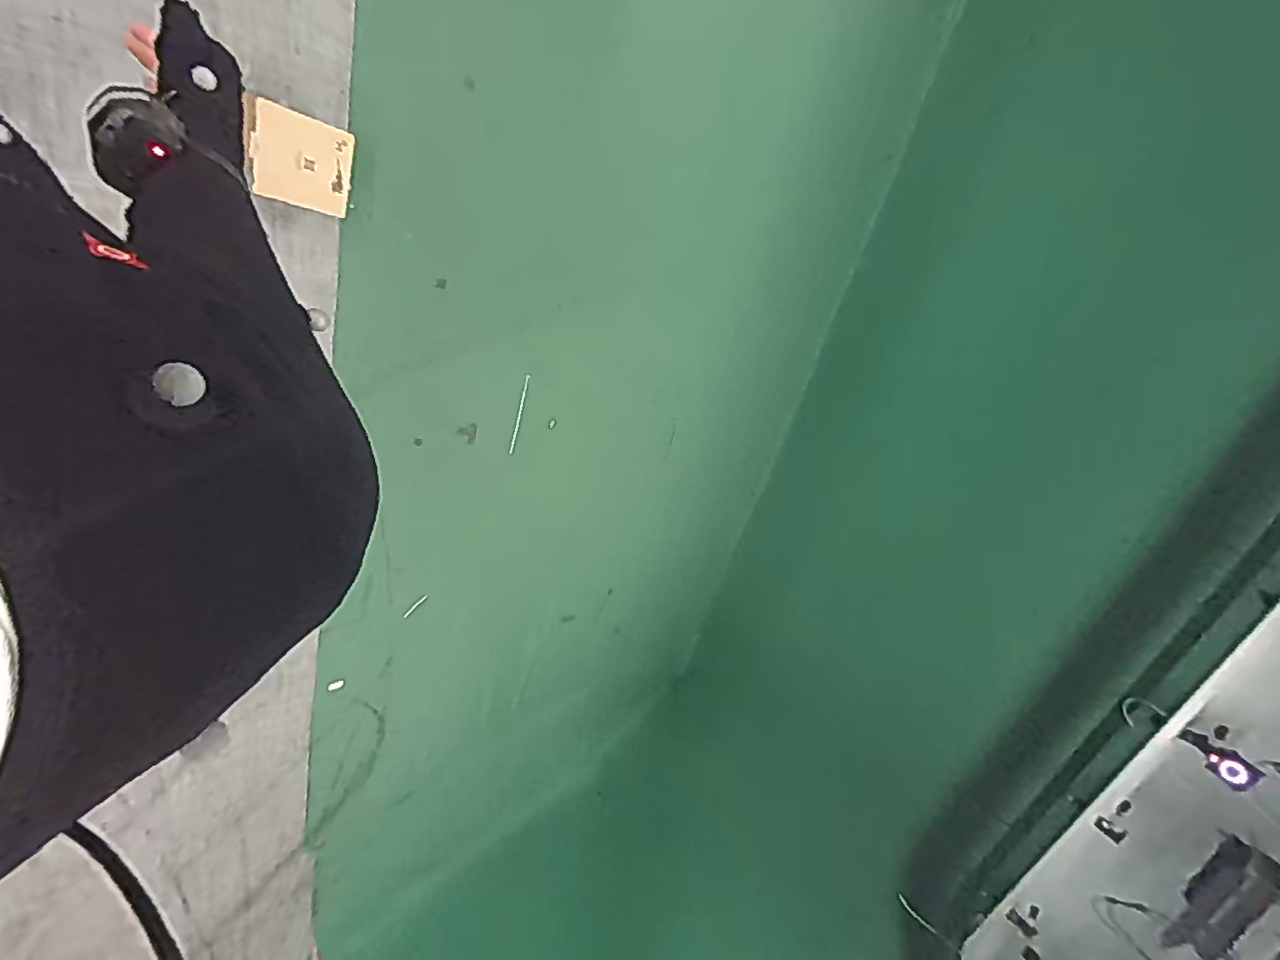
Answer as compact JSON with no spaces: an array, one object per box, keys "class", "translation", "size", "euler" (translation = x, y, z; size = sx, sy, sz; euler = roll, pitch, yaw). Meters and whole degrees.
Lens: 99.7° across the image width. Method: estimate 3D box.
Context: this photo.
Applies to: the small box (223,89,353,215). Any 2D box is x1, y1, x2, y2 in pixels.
[{"class":"small box","translation":[-0.718,-0.663,1.098],"size":[0.179,0.176,0.168],"euler":[-7,122,-51]}]
